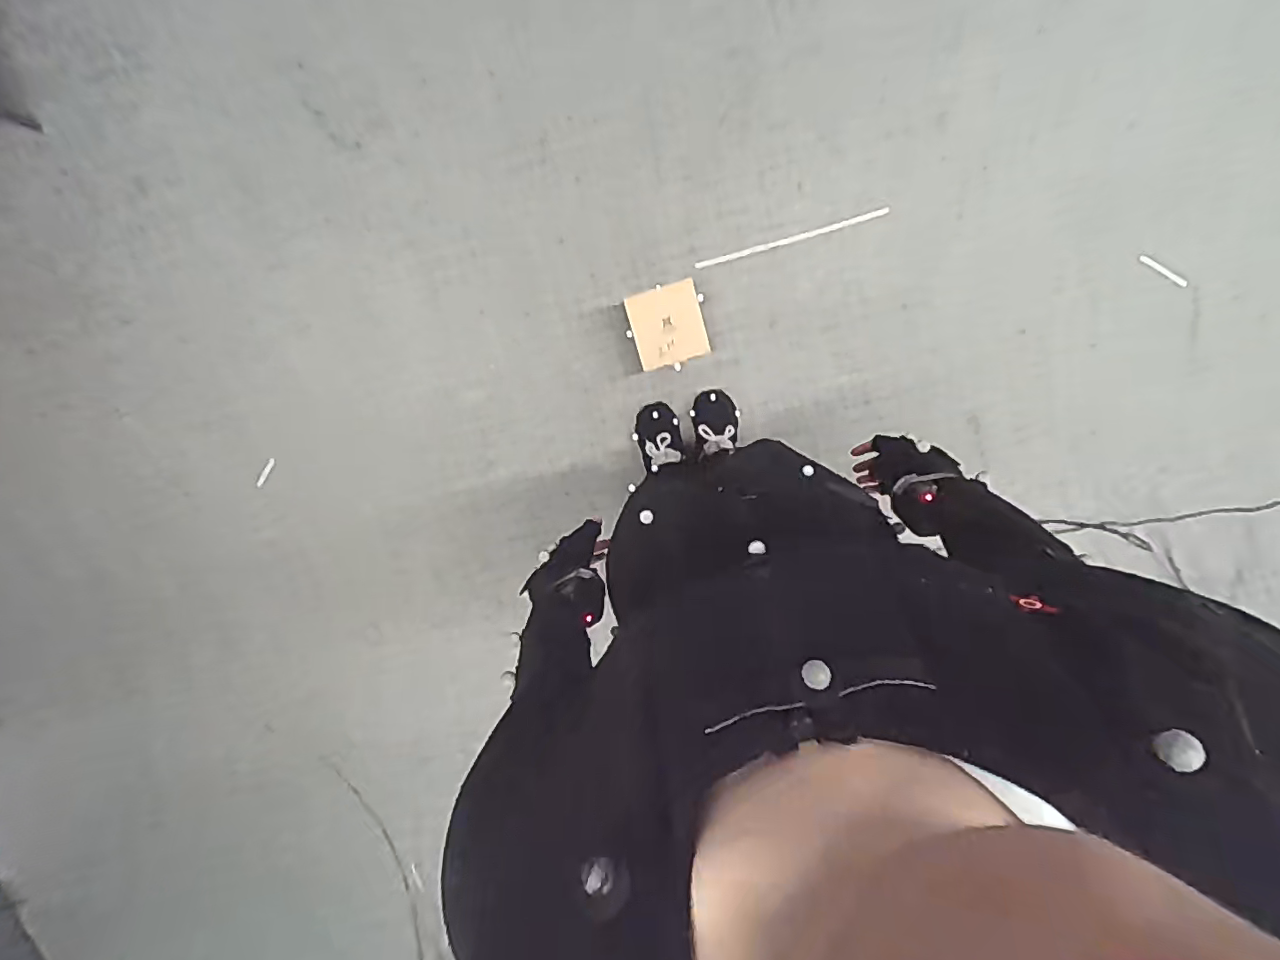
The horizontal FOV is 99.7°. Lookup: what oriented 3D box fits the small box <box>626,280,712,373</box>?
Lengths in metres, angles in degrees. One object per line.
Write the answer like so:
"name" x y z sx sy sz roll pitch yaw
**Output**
"small box" 0.069 -0.366 1.318 0.168 0.176 0.179 -15 101 6
